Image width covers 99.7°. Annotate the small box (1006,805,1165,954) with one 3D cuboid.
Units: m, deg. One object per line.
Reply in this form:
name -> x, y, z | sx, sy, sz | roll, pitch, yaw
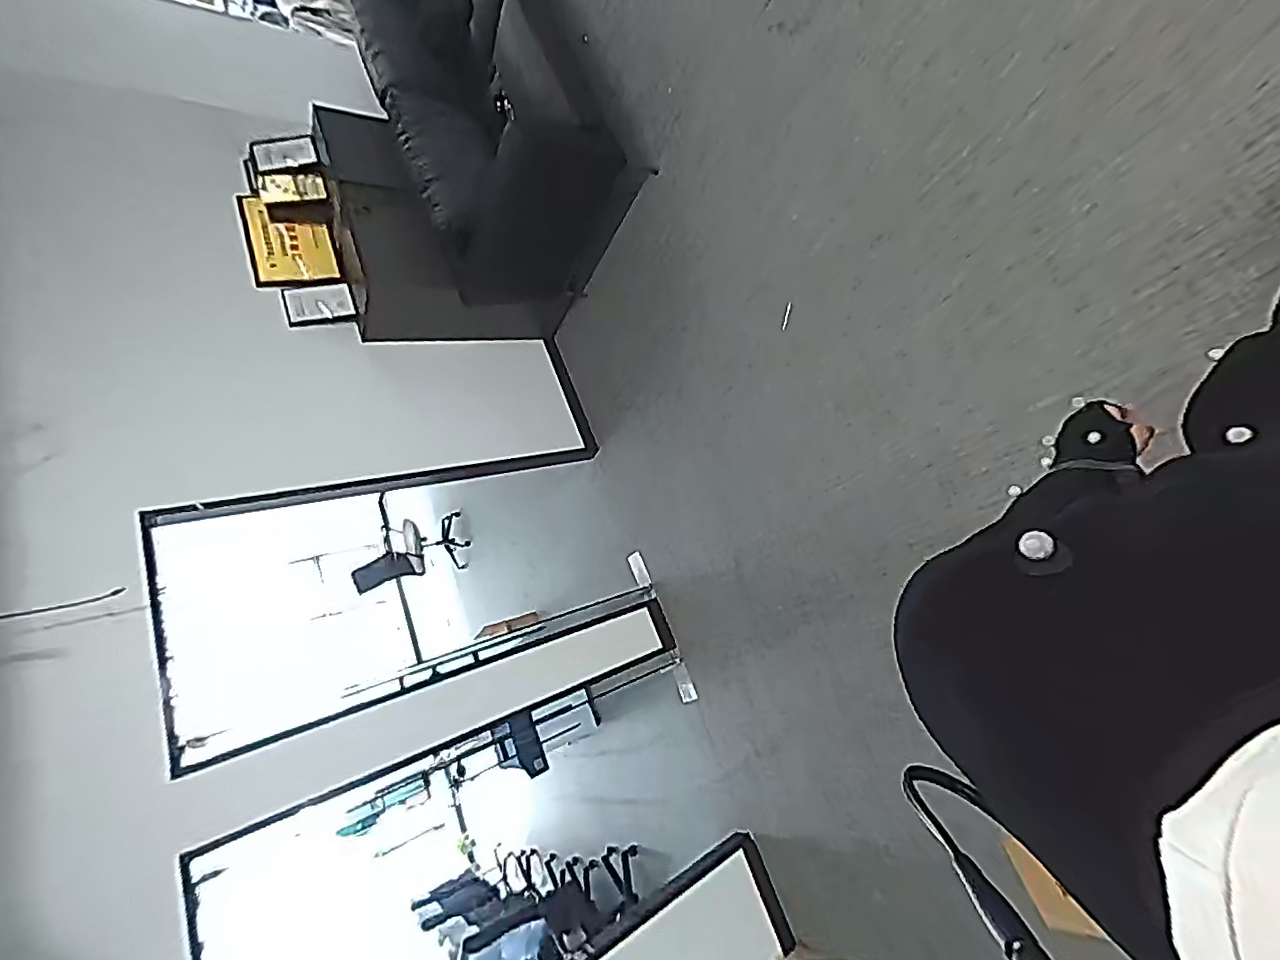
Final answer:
small box -> 0.901, 0.793, 1.094 | 0.168, 0.176, 0.179 | -44, 62, 50
